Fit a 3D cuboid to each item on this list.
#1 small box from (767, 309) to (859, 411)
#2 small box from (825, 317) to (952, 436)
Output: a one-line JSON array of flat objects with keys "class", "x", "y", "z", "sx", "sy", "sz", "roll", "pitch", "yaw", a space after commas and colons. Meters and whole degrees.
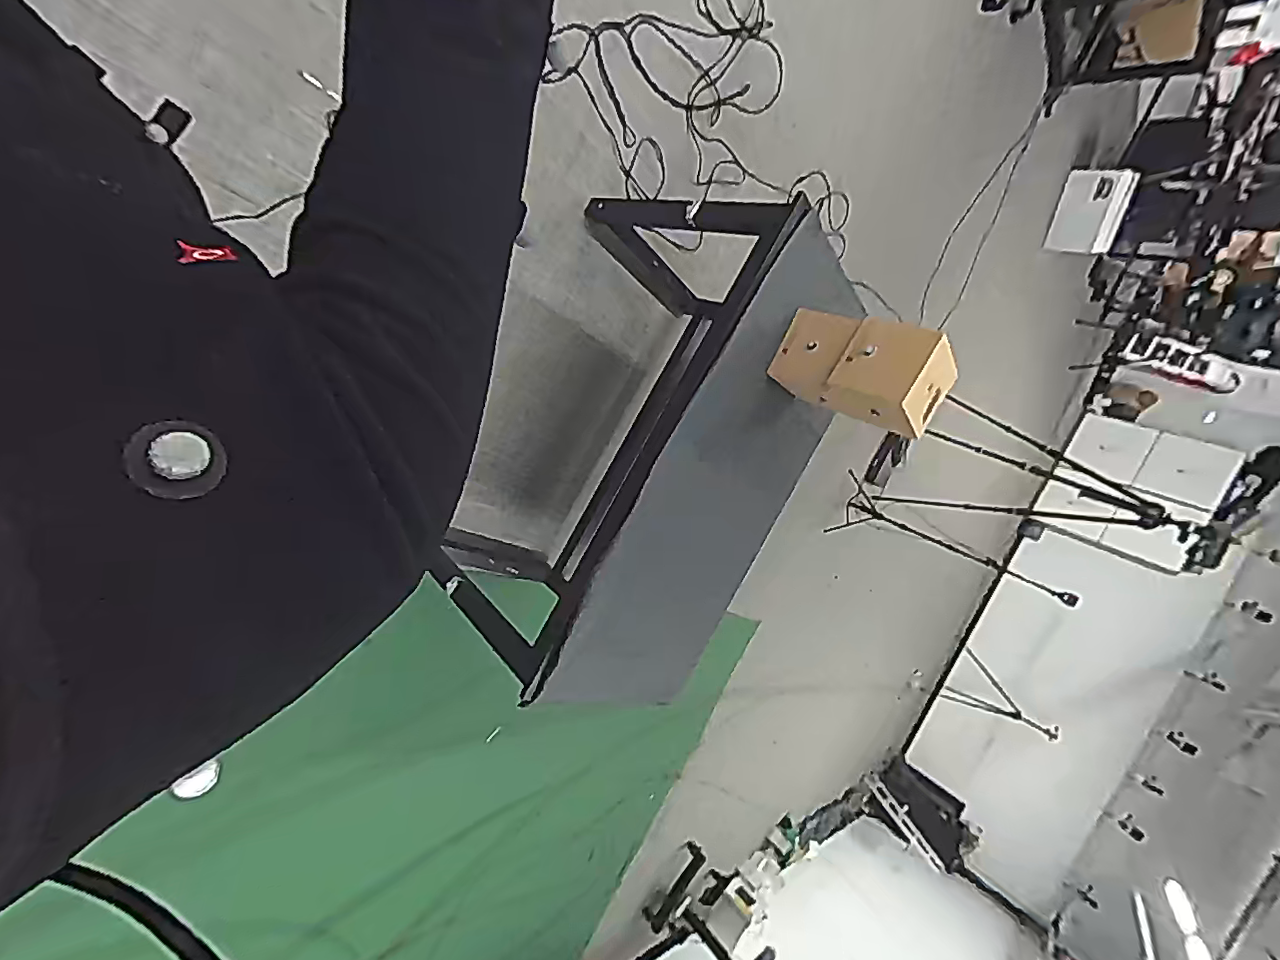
[{"class": "small box", "x": 0.426, "y": -0.283, "z": 1.263, "sx": 0.179, "sy": 0.176, "sz": 0.168, "roll": 19, "pitch": 100, "yaw": -49}, {"class": "small box", "x": 0.524, "y": -0.222, "z": 1.145, "sx": 0.179, "sy": 0.176, "sz": 0.168, "roll": 31, "pitch": 90, "yaw": -49}]
